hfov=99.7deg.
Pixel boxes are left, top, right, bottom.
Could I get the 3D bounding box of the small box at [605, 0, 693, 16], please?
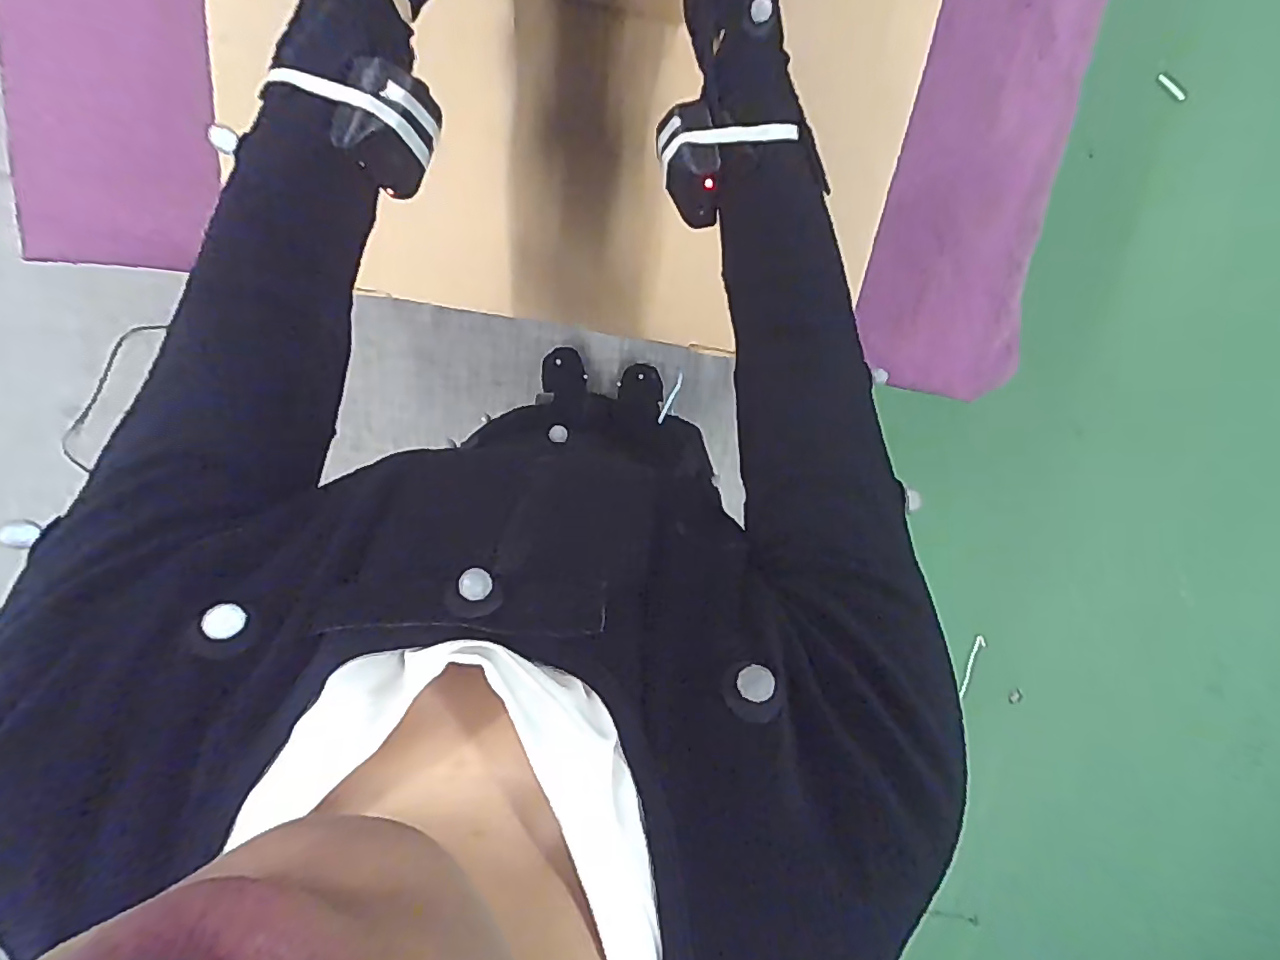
[{"bbox_3d":[-0.025,-0.454,0.353,0.168,0.176,0.179,7,105,-3],"label":"small box"}]
